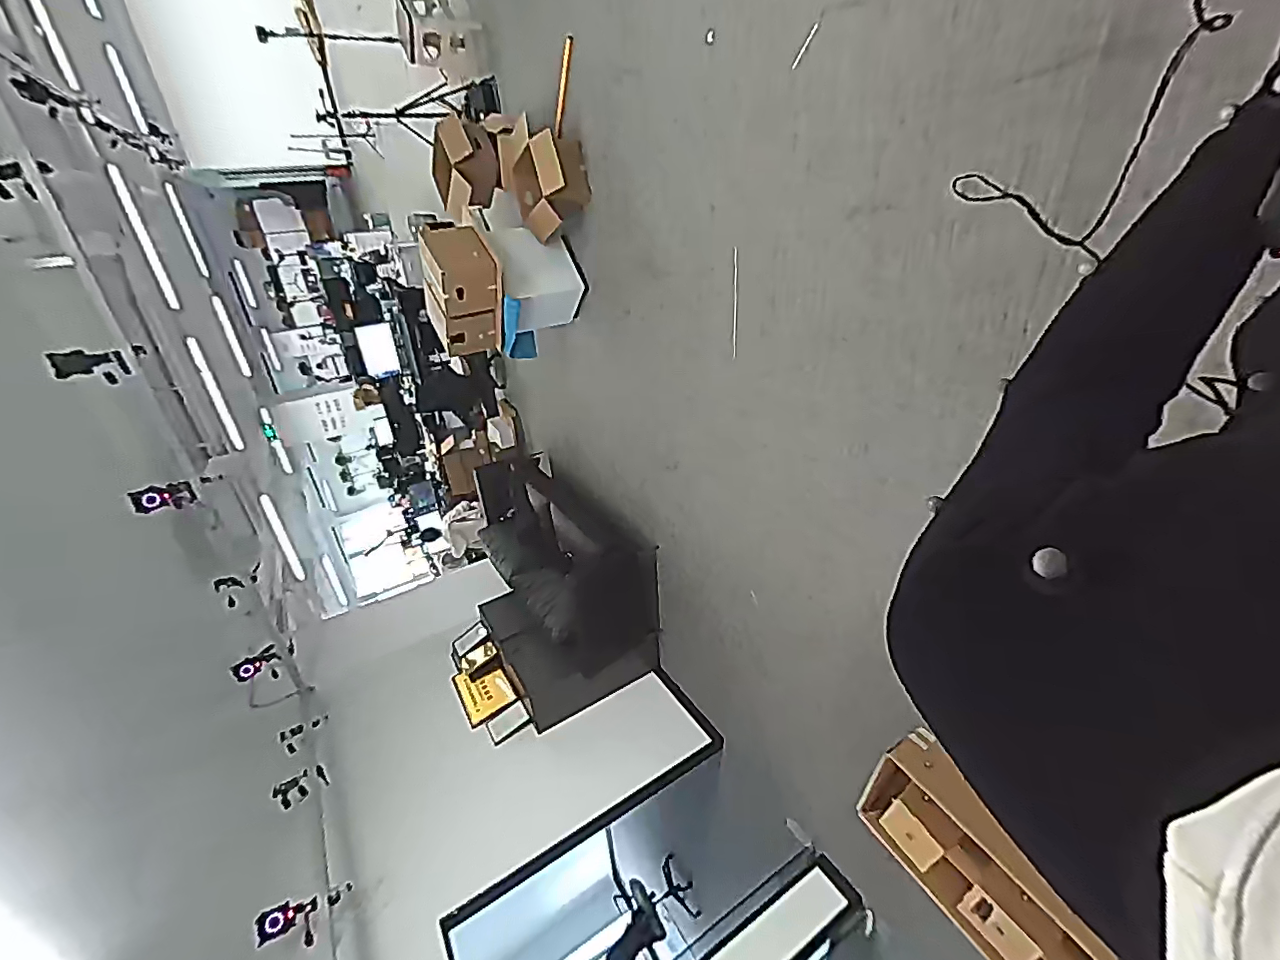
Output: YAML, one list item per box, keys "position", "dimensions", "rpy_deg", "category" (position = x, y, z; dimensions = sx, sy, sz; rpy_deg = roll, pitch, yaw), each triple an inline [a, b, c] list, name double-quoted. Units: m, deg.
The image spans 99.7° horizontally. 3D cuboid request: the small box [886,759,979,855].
- position: [0.910, 1.008, 1.678]
  dimensions: [0.168, 0.176, 0.179]
  rpy_deg: [48, 147, 41]
  category: "small box"
